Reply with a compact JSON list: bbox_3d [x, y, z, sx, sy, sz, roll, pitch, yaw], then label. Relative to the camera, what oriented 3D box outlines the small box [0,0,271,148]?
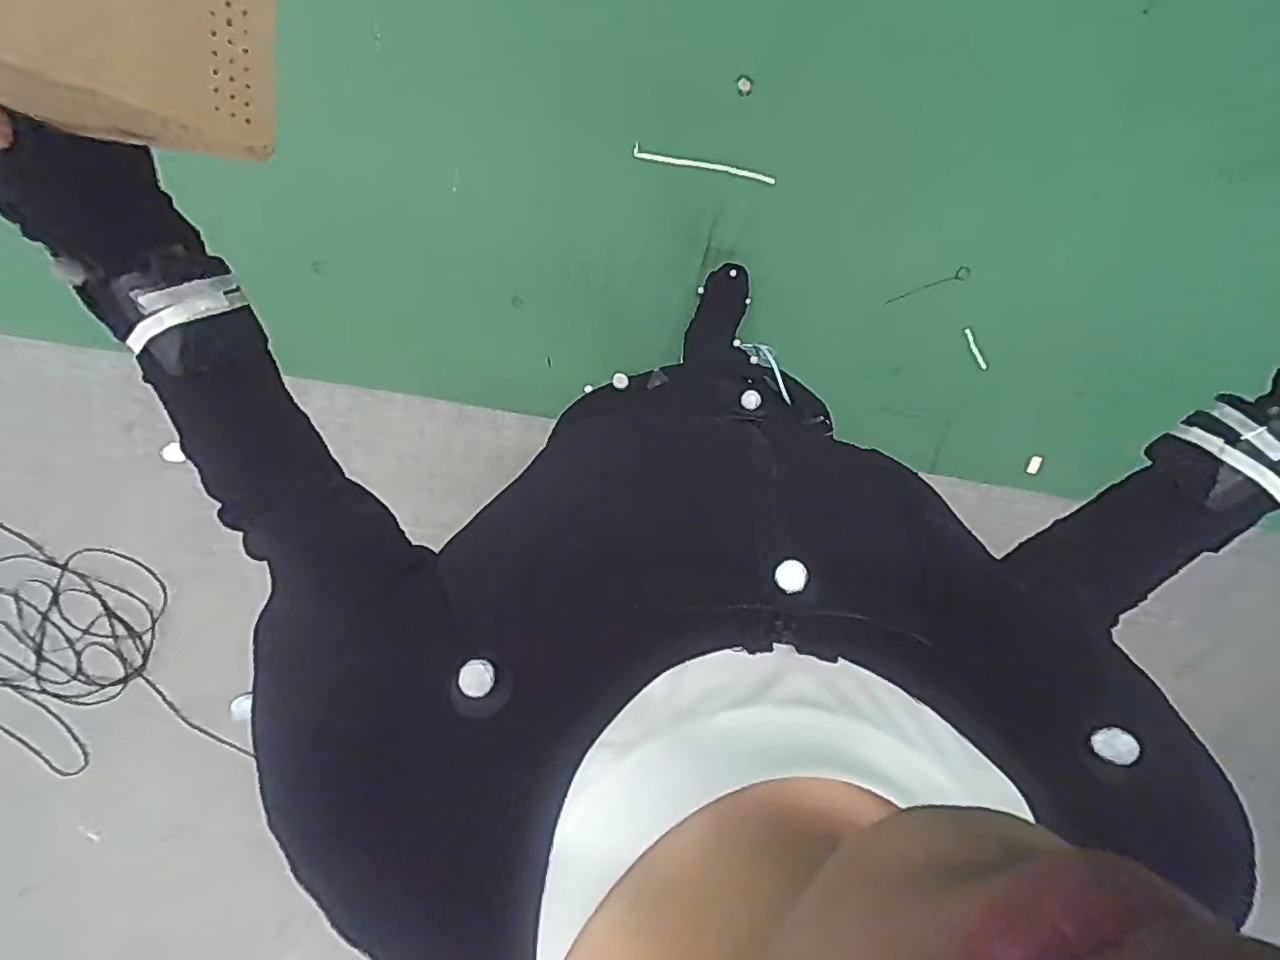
[{"bbox_3d":[-0.239,-0.229,0.153,0.168,0.176,0.179,17,108,13],"label":"small box"}]
